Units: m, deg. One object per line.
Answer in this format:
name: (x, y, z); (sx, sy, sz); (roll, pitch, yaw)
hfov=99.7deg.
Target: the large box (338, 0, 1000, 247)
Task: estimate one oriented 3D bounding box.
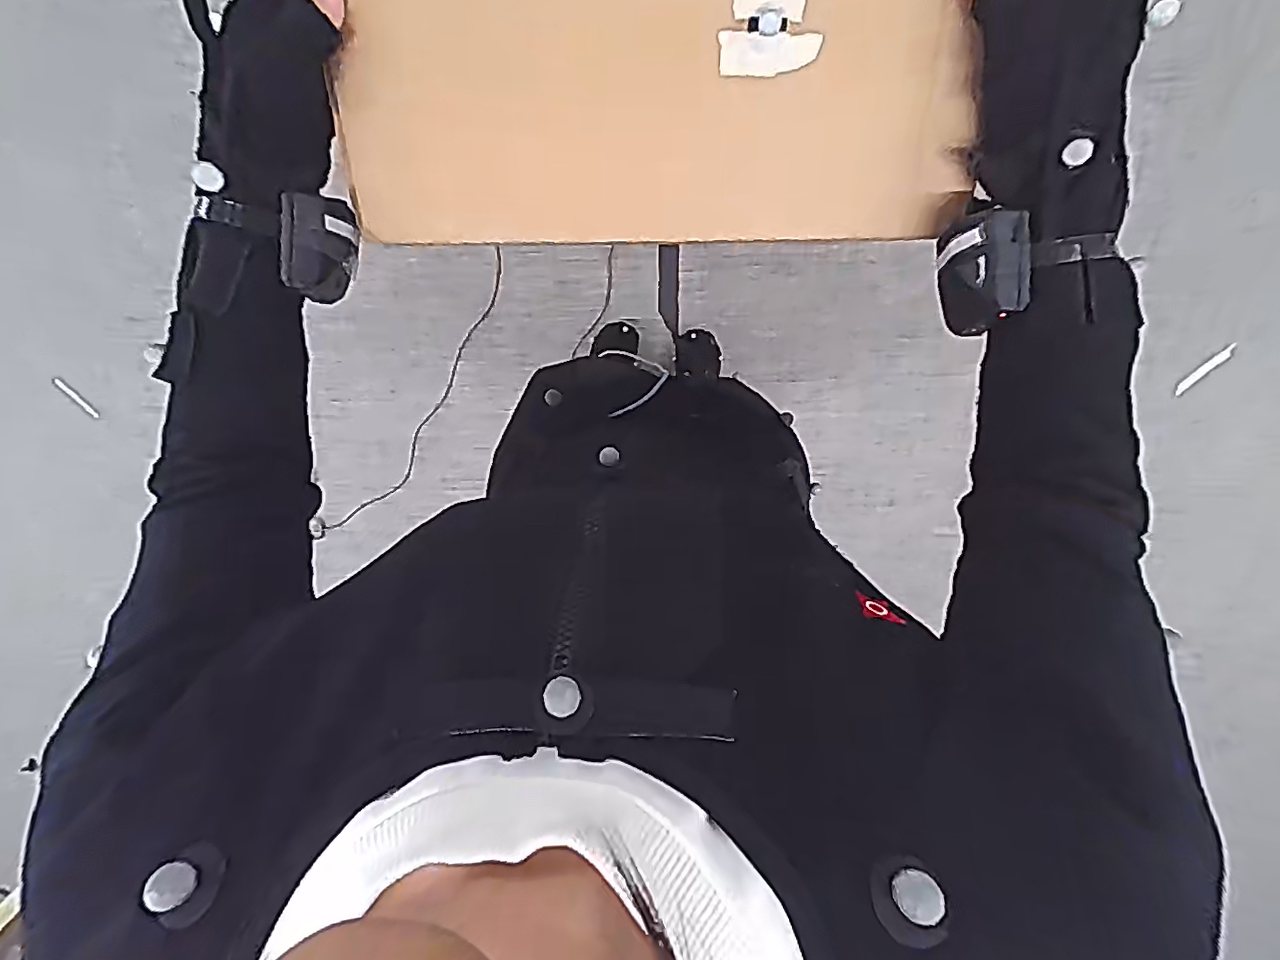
large box: (0.018, -0.372, 0.449); (0.408, 0.320, 0.320); (0, 115, 3)
